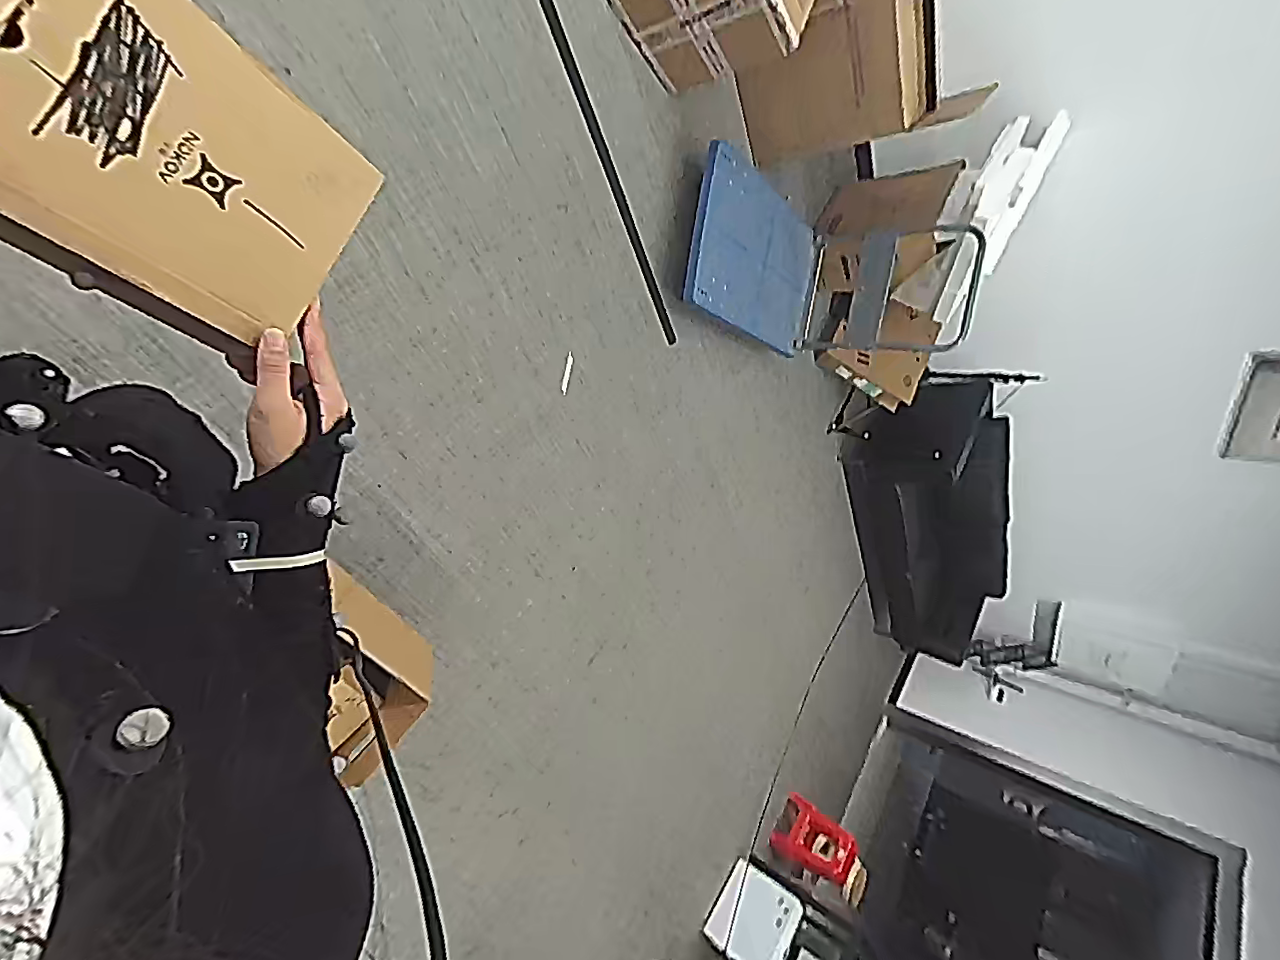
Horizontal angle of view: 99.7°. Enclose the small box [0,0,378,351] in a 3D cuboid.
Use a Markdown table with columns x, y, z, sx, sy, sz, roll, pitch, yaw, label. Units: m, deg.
| x | y | z | sx | sy | sz | roll | pitch | yaw | label |
| --- | --- | --- | --- | --- | --- | --- | --- | --- | --- |
| -0.339 | -0.210 | 0.390 | 0.179 | 0.176 | 0.168 | 36 | 74 | -48 | small box |
